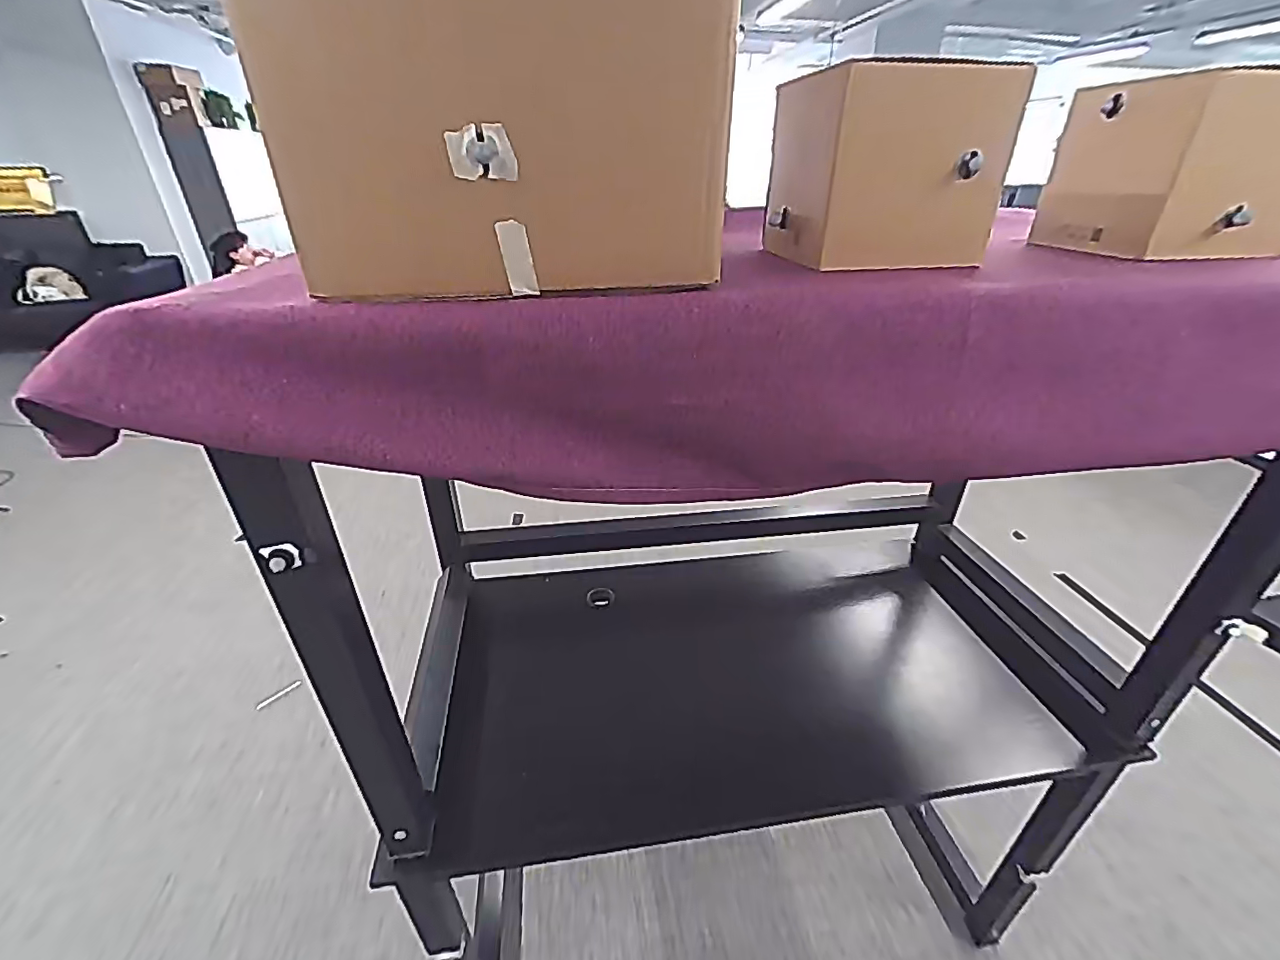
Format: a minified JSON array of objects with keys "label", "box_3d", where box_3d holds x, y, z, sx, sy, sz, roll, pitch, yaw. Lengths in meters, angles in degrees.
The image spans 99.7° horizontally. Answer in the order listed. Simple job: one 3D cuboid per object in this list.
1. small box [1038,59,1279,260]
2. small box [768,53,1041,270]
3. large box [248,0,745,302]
[{"label":"small box","box_3d":[0.599,-0.346,0.600,0.179,0.176,0.168,-3,29,-6]},{"label":"small box","box_3d":[0.247,-0.319,0.558,0.179,0.176,0.168,-5,30,-7]},{"label":"large box","box_3d":[-0.117,-0.366,0.504,0.320,0.320,0.408,-5,30,-10]}]
